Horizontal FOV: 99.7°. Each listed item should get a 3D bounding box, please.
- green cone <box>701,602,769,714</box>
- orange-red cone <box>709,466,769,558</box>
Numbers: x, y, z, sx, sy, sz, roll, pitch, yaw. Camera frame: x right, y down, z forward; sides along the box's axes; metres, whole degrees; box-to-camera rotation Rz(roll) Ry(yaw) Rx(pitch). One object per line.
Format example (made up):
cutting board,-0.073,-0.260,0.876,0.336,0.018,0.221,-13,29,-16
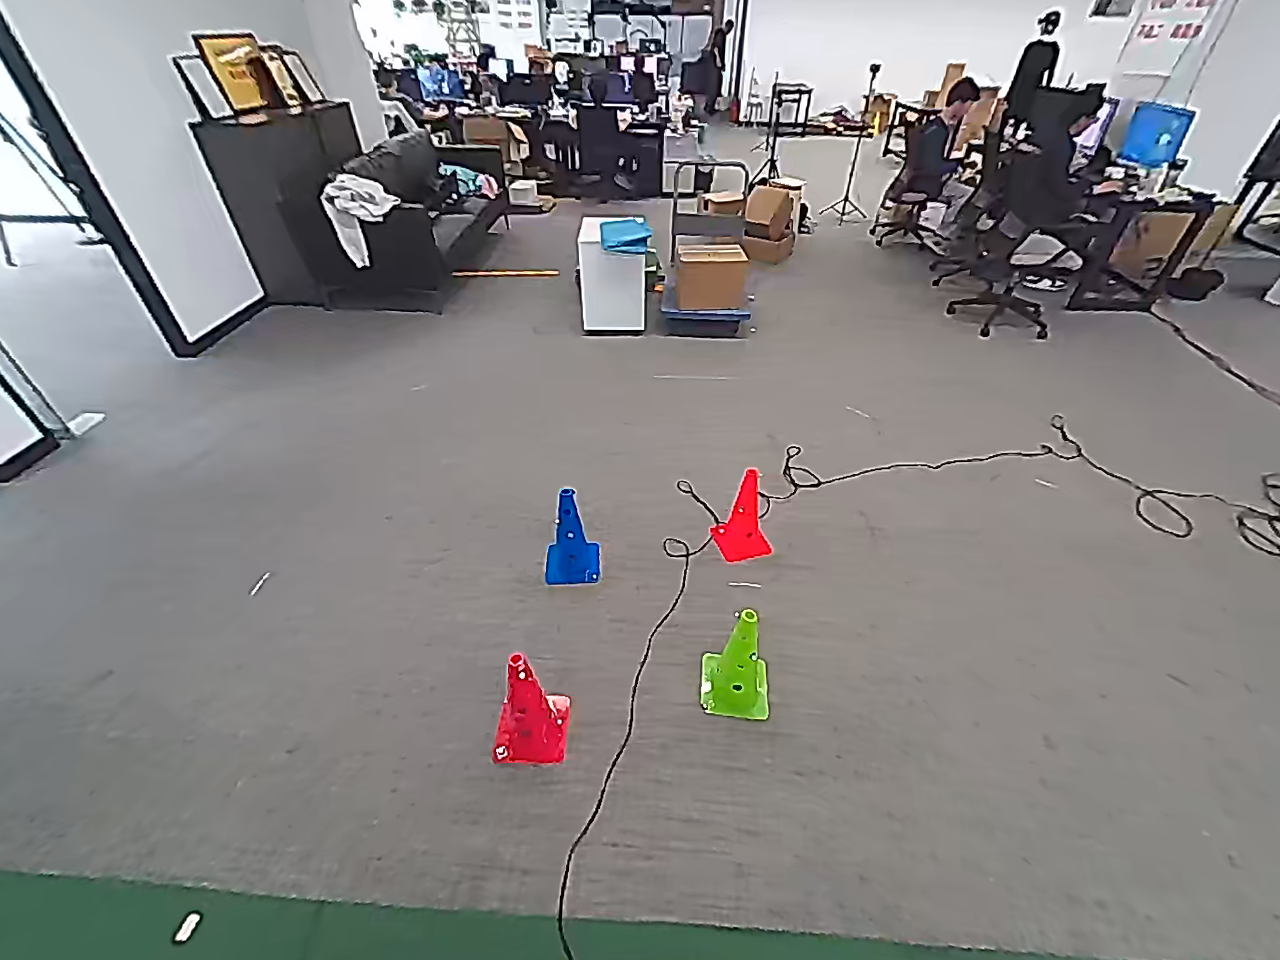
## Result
green cone,0.291,0.484,1.551,0.200,0.368,0.202,4,39,4
orange-red cone,0.389,0.094,2.025,0.198,0.360,0.199,-10,42,-11
